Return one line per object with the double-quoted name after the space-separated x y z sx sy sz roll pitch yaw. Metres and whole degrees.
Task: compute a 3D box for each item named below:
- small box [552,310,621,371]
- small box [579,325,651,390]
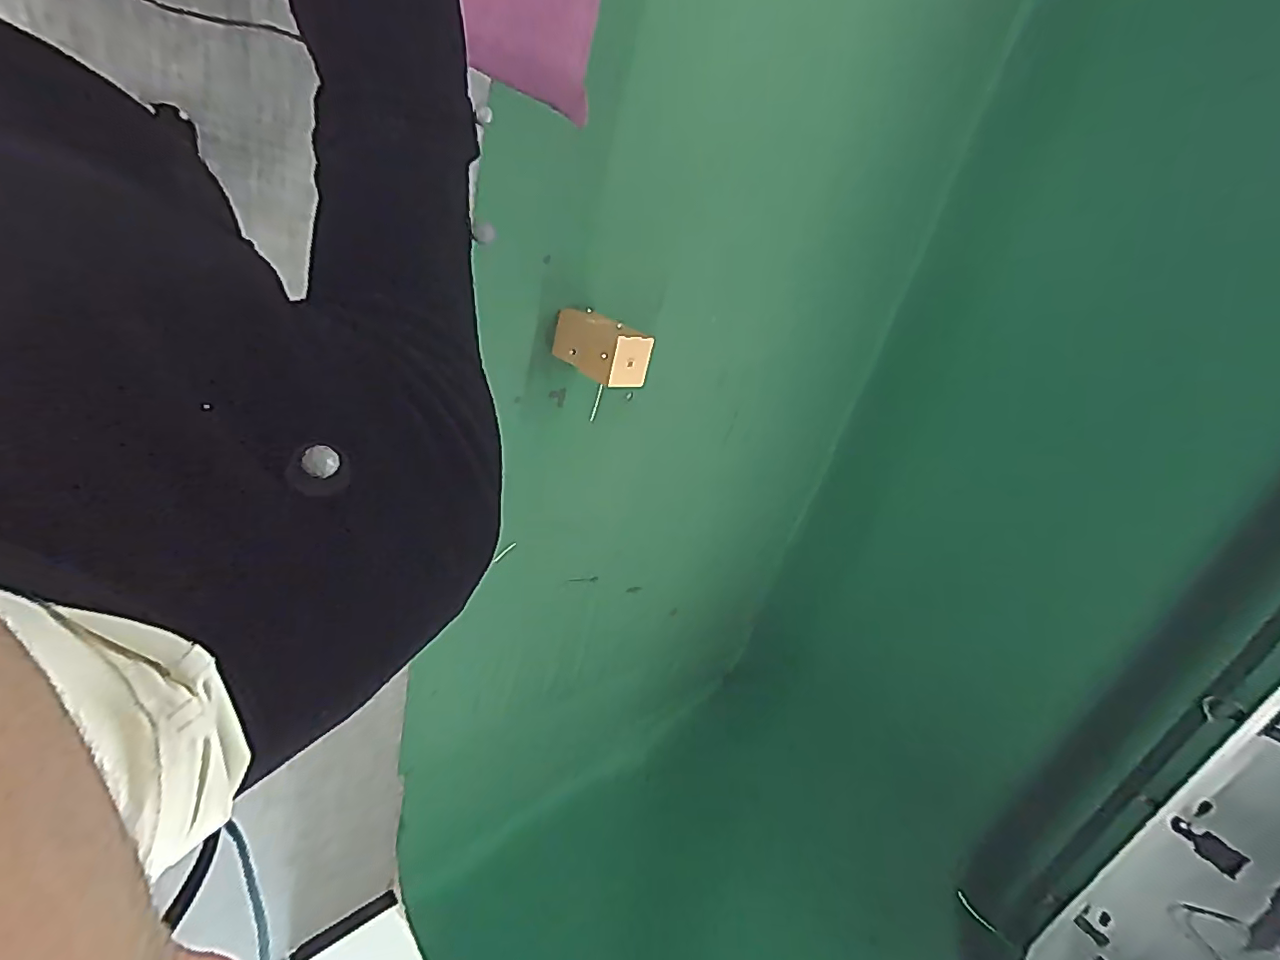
-0.199 -0.502 1.965 0.168 0.176 0.179 -7 122 -45 "small box"
-0.092 -0.424 1.871 0.168 0.176 0.179 -10 122 -43 "small box"
